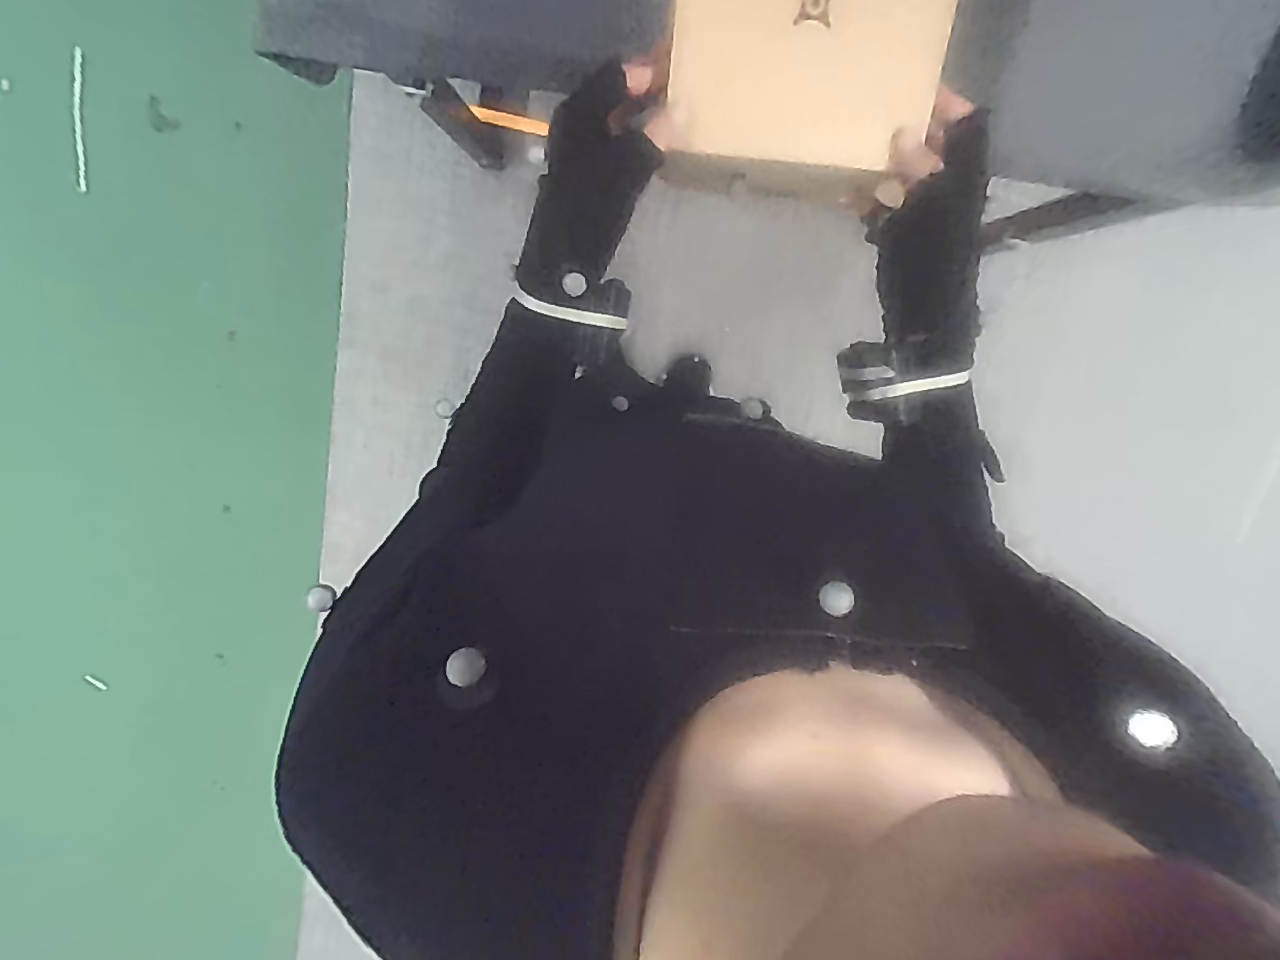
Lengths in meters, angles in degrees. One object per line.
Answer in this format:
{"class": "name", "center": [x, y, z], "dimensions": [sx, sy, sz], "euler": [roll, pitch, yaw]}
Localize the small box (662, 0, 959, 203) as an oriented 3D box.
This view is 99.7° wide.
{"class": "small box", "center": [0.105, -0.310, 0.389], "dimensions": [0.168, 0.176, 0.179], "euler": [4, 109, -1]}
